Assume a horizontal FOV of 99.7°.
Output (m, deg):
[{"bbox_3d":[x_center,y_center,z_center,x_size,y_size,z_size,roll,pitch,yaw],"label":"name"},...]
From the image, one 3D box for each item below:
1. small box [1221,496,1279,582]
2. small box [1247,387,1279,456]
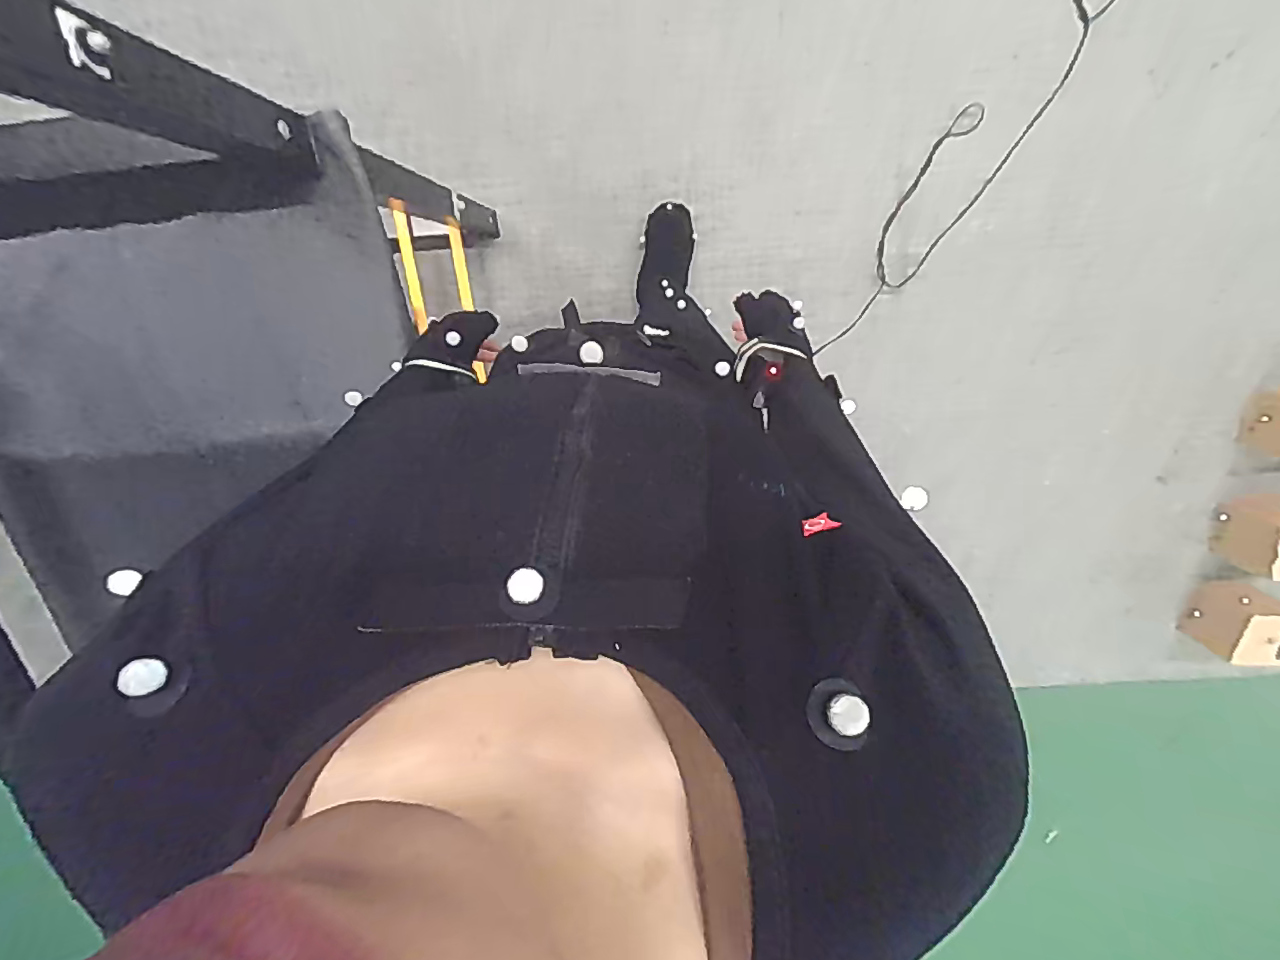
[{"bbox_3d":[1.740,0.153,1.454,0.179,0.176,0.168,-11,110,4],"label":"small box"},{"bbox_3d":[1.706,-0.145,1.347,0.179,0.176,0.168,-7,109,4],"label":"small box"}]
